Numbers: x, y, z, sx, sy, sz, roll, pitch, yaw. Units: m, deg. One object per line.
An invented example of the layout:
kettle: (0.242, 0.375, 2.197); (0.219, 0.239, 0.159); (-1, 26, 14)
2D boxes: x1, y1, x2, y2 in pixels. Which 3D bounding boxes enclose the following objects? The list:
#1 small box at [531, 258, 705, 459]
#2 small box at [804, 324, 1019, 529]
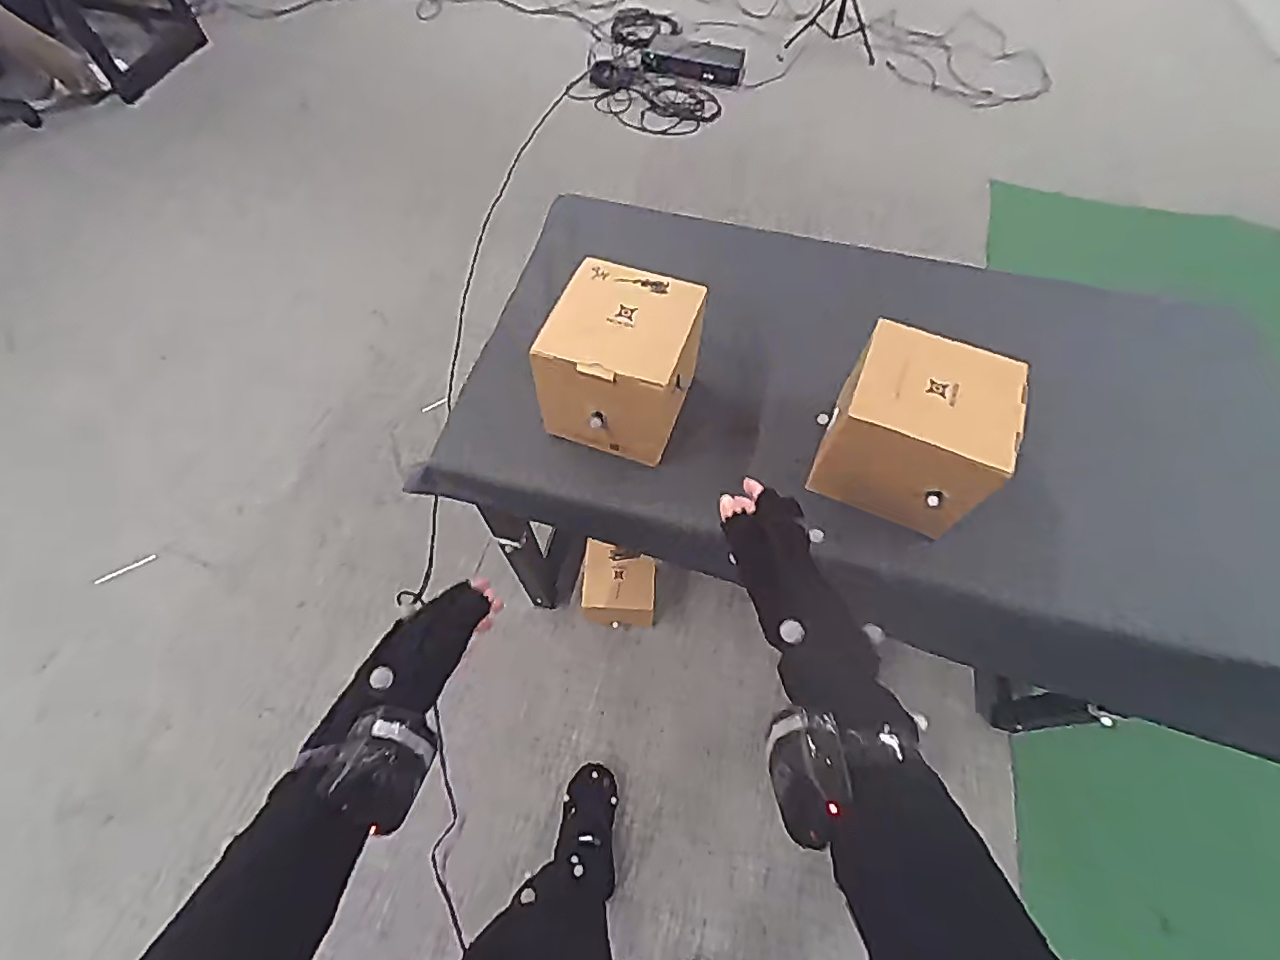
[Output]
small box: (-0.024, -0.154, 0.718); (0.168, 0.176, 0.179); (18, 62, 7)
small box: (0.331, -0.058, 0.681); (0.179, 0.176, 0.168); (22, 61, 11)
